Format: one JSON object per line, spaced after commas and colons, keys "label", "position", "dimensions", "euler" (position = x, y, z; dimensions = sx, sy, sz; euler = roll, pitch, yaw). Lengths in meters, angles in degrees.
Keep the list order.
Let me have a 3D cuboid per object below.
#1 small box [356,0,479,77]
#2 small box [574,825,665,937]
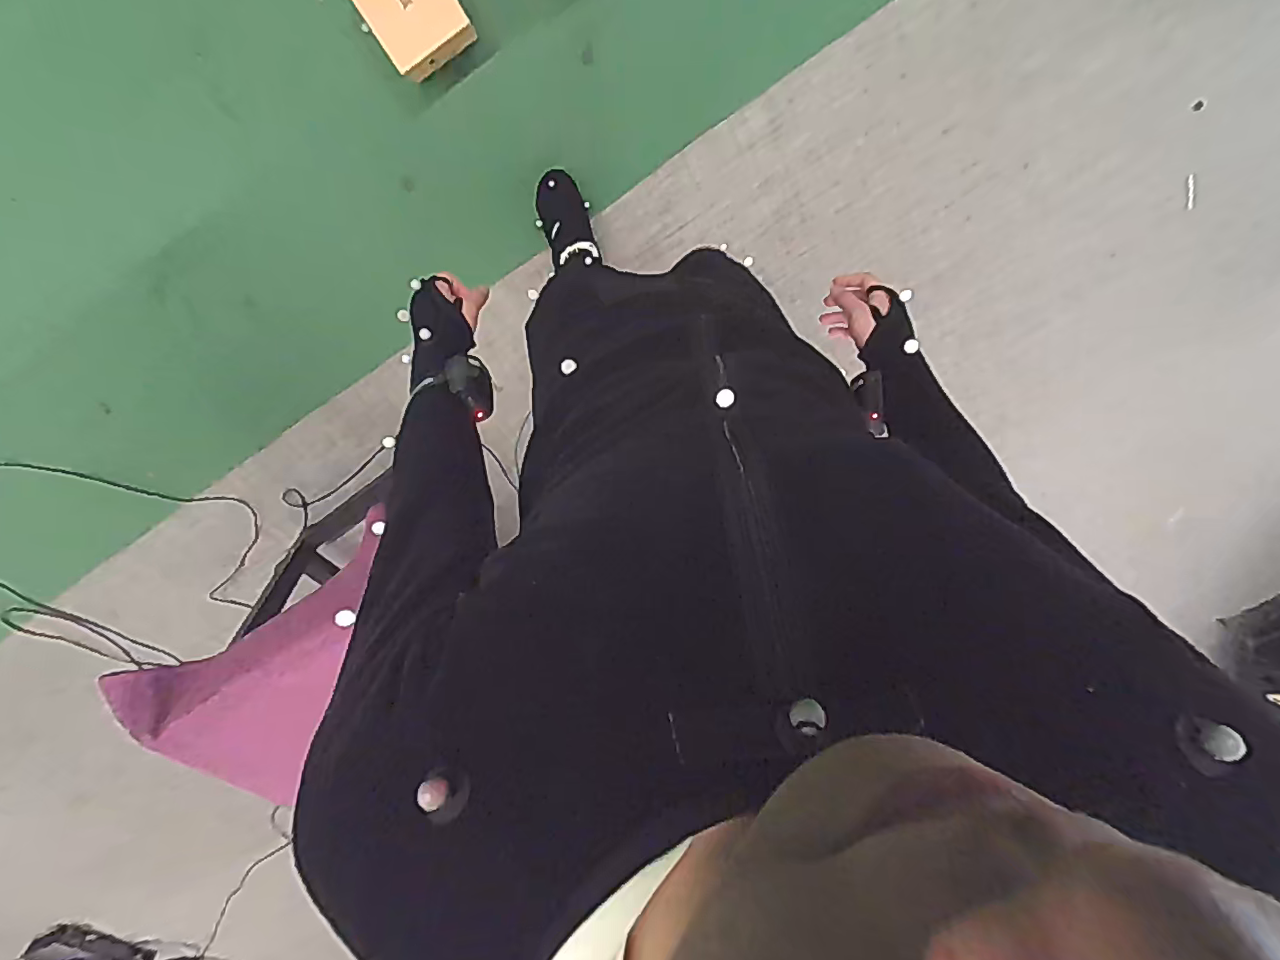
{"label": "small box", "position": [-0.435, -0.920, 1.049], "dimensions": [0.168, 0.176, 0.179], "euler": [-31, 120, 9]}
{"label": "small box", "position": [-0.061, 1.065, 1.441], "dimensions": [0.179, 0.176, 0.168], "euler": [-36, 120, 11]}
